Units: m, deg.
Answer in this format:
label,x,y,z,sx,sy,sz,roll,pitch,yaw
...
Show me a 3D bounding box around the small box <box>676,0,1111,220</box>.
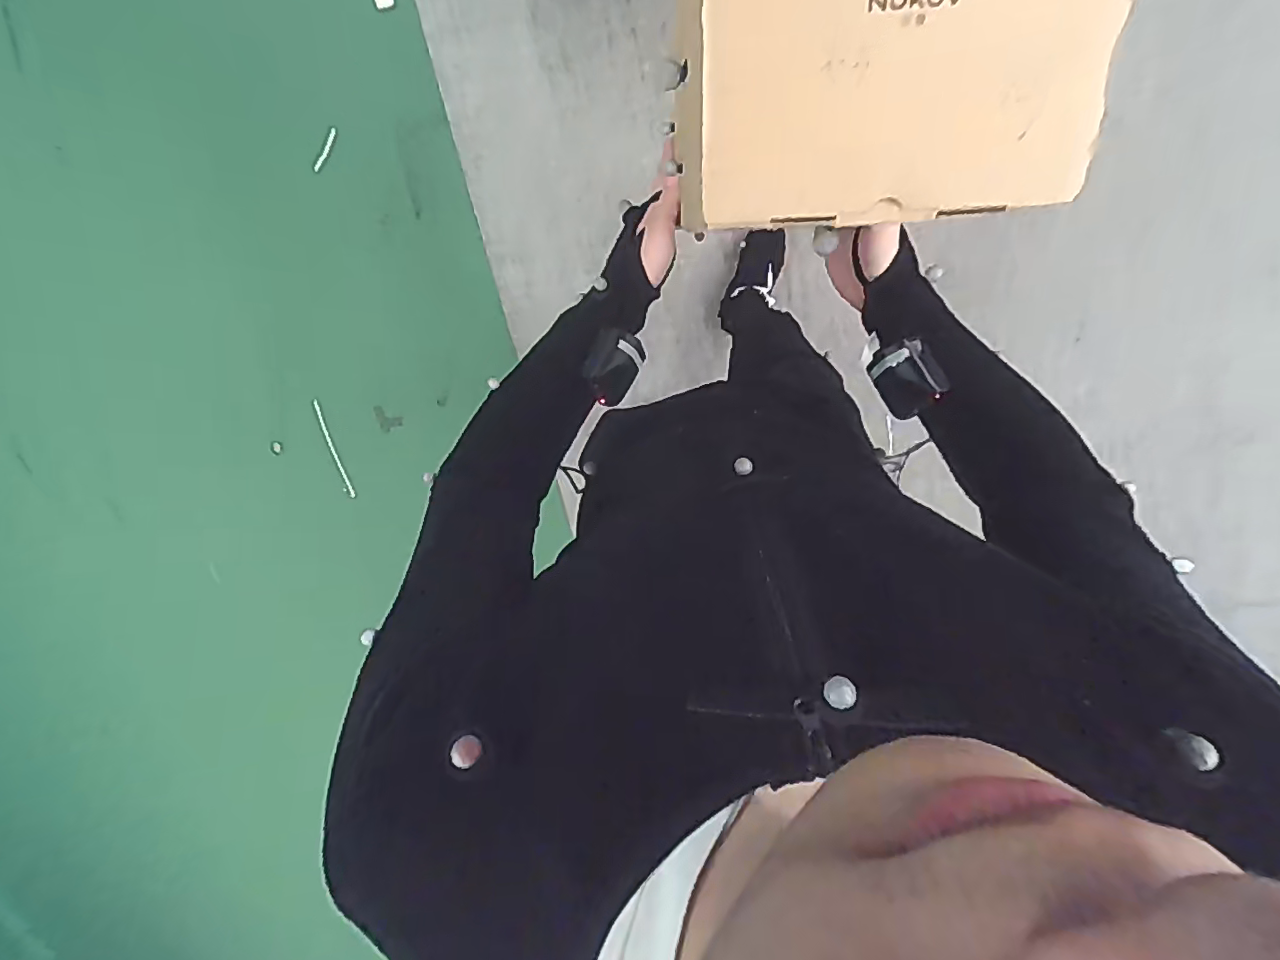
label,x,y,z,sx,sy,sz,roll,pitch,yaw
small box,0.104,-0.237,0.278,0.168,0.176,0.179,-2,116,4
